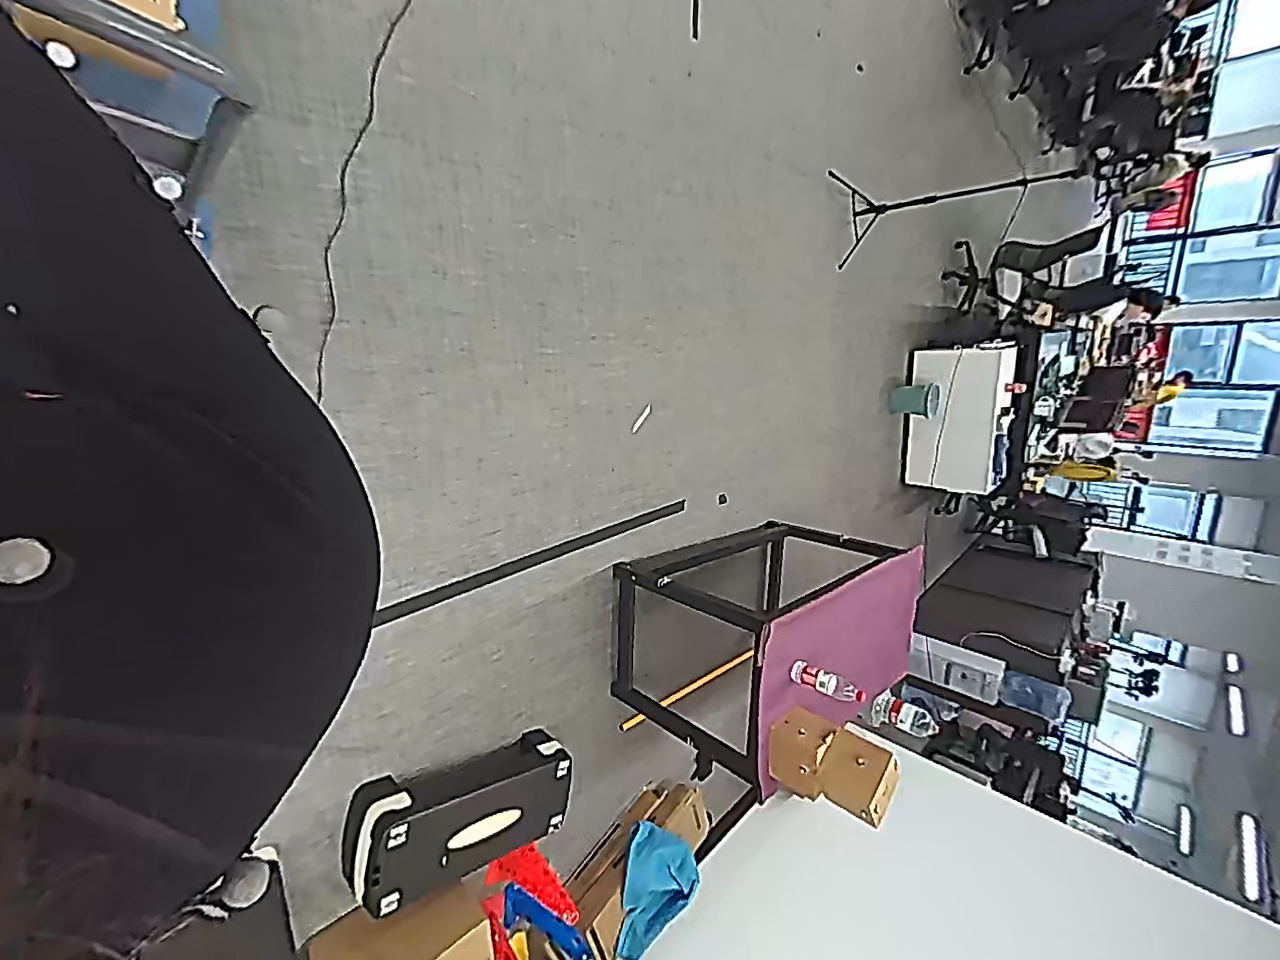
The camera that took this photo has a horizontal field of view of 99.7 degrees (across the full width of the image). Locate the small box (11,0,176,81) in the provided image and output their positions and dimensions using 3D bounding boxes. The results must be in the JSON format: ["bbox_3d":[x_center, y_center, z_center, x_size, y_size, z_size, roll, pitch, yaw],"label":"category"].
[{"bbox_3d":[-0.814,-0.744,0.807,0.179,0.176,0.168,-3,100,-45],"label":"small box"}]
